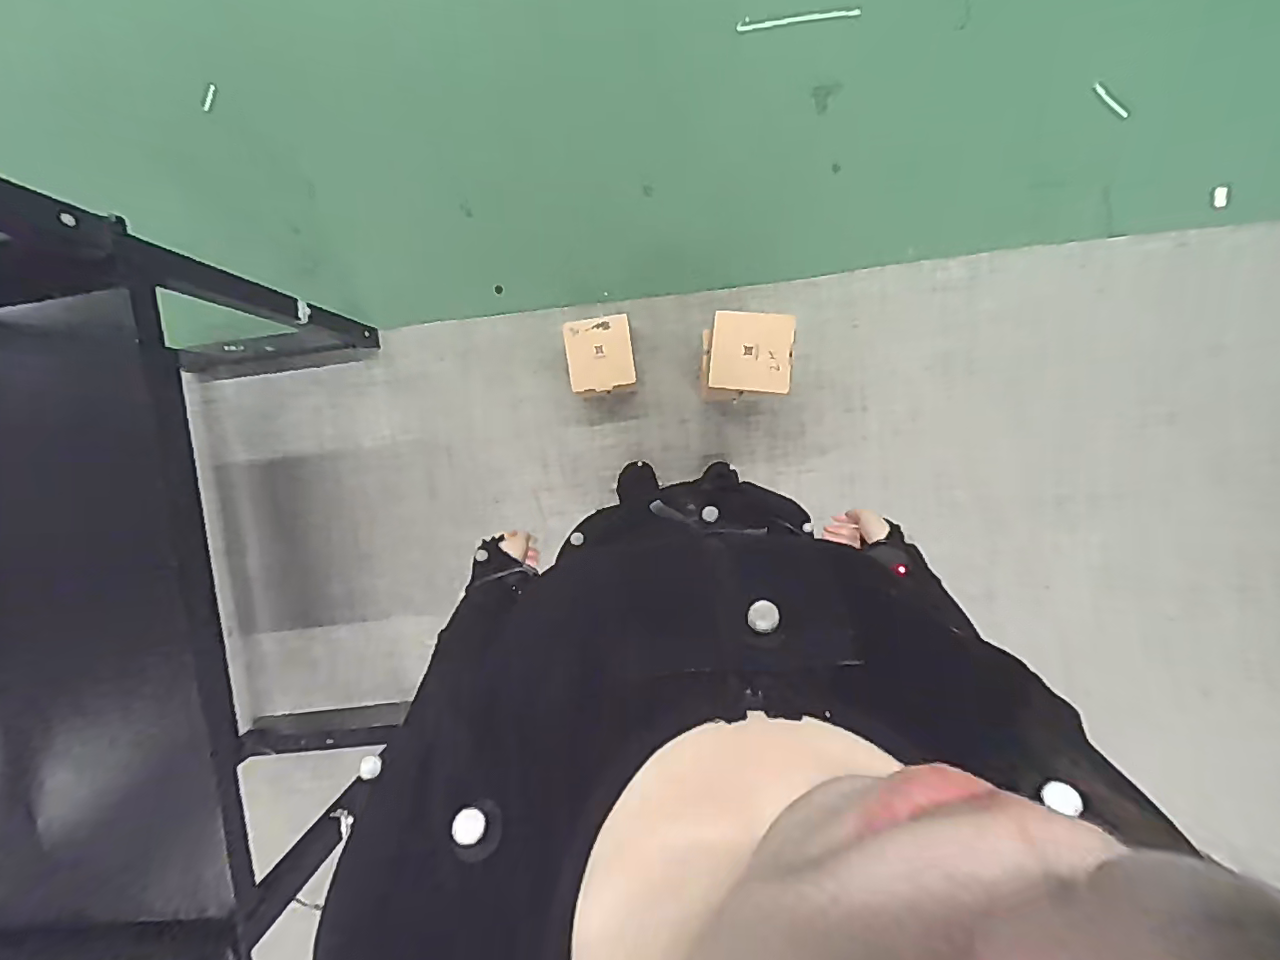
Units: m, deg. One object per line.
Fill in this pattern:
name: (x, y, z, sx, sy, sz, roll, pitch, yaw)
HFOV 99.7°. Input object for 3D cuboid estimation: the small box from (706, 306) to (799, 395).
small box: (0.243, -0.283, 1.212, 0.179, 0.176, 0.168, 5, 96, 3)

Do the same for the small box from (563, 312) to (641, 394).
small box: (-0.092, -0.318, 1.395, 0.168, 0.176, 0.179, -8, 94, 4)
